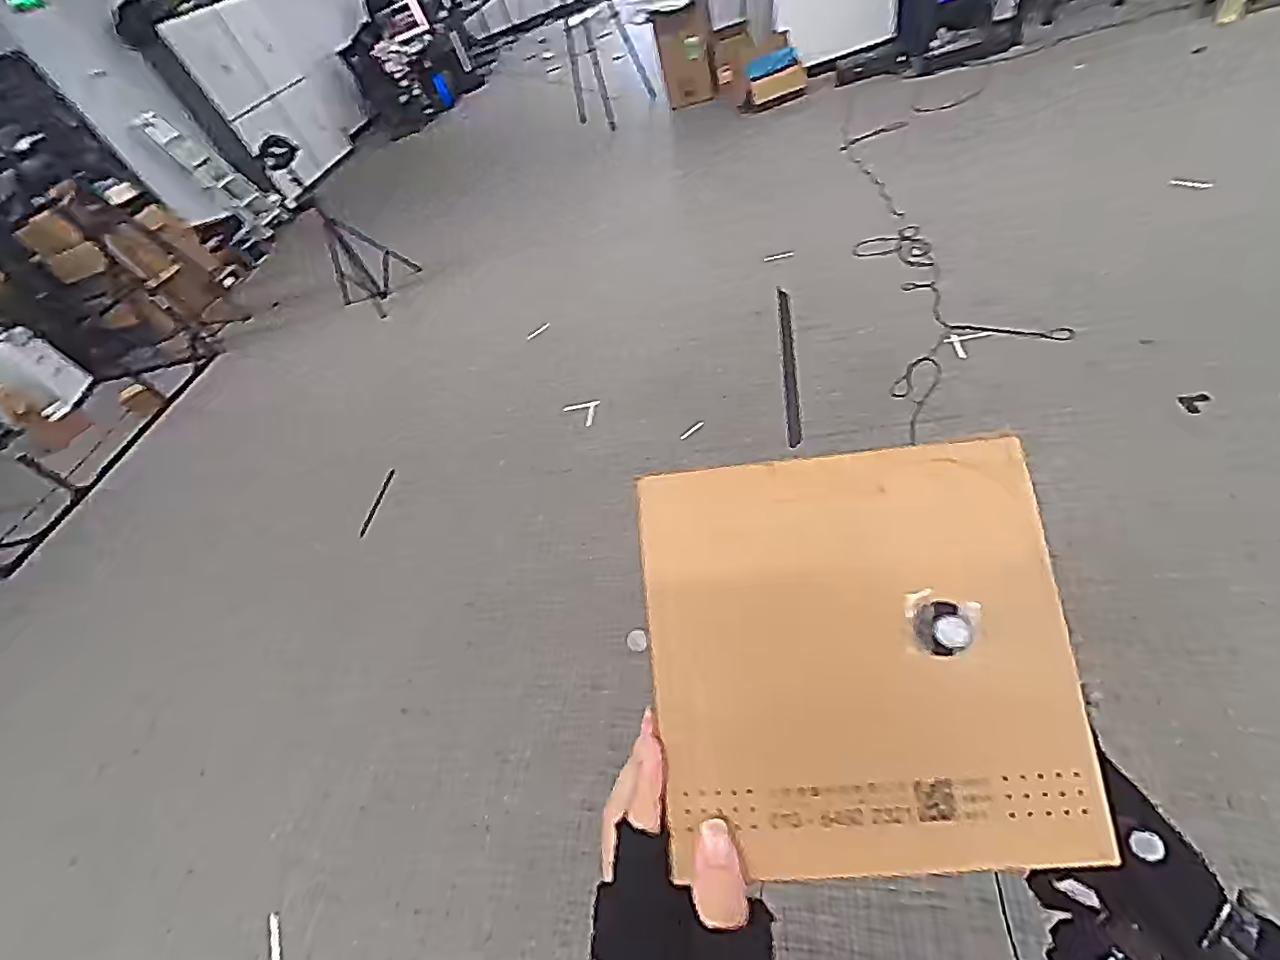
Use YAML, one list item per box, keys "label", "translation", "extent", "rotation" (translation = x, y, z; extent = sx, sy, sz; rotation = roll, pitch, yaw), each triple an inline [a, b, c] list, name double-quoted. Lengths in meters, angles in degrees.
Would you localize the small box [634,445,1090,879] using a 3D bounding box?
- label: "small box"
  translation: [0.100, 0.090, 0.303]
  extent: [0.168, 0.179, 0.176]
  rotation: [-7, 80, 9]
